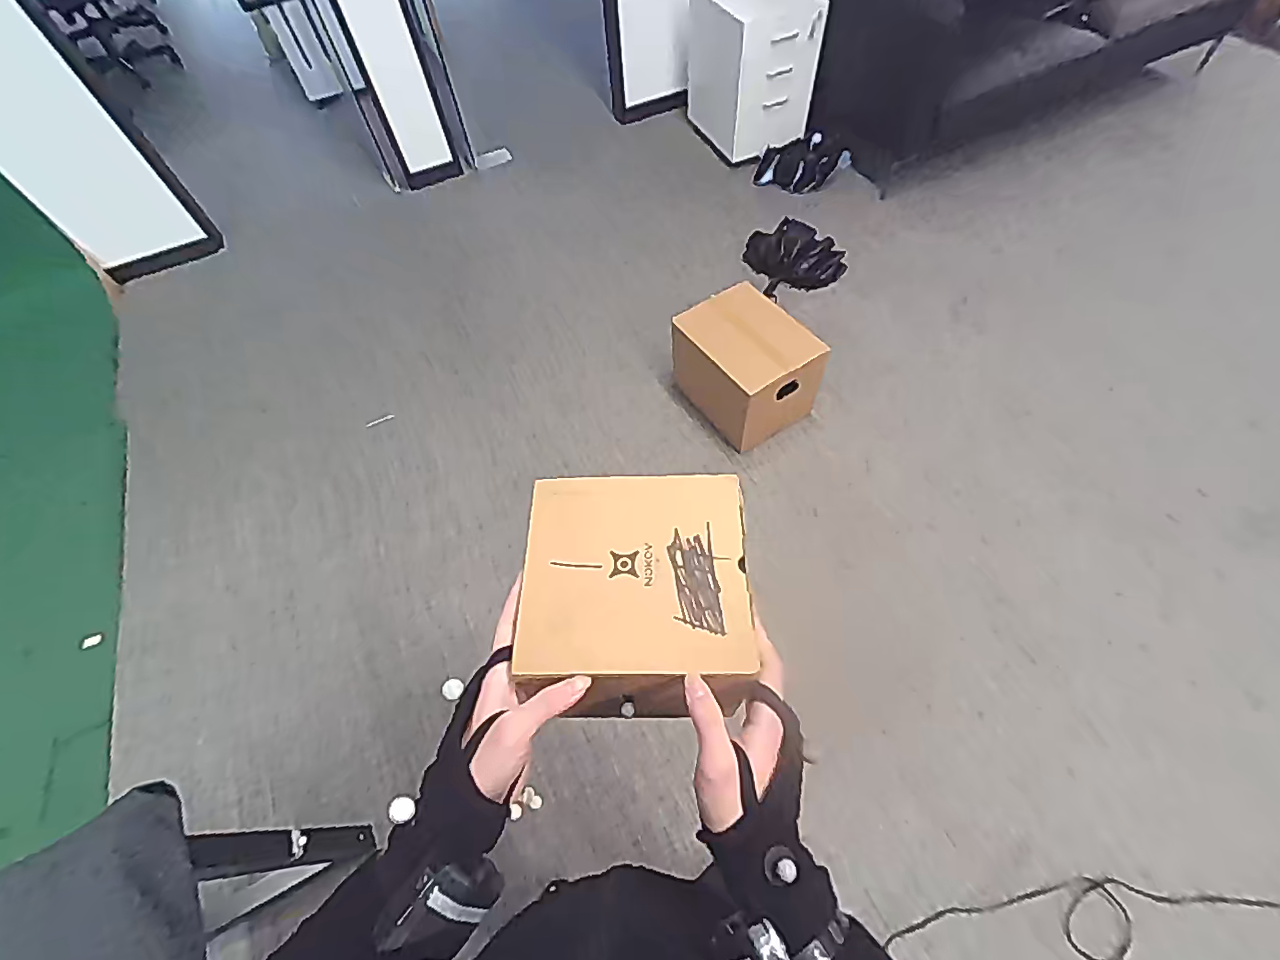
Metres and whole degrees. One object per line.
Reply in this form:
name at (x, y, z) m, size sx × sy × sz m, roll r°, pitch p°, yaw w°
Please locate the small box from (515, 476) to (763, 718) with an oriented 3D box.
small box at (0.002, 0.110, 0.486) m, size 0.179 × 0.176 × 0.168 m, roll -2°, pitch 56°, yaw 2°
